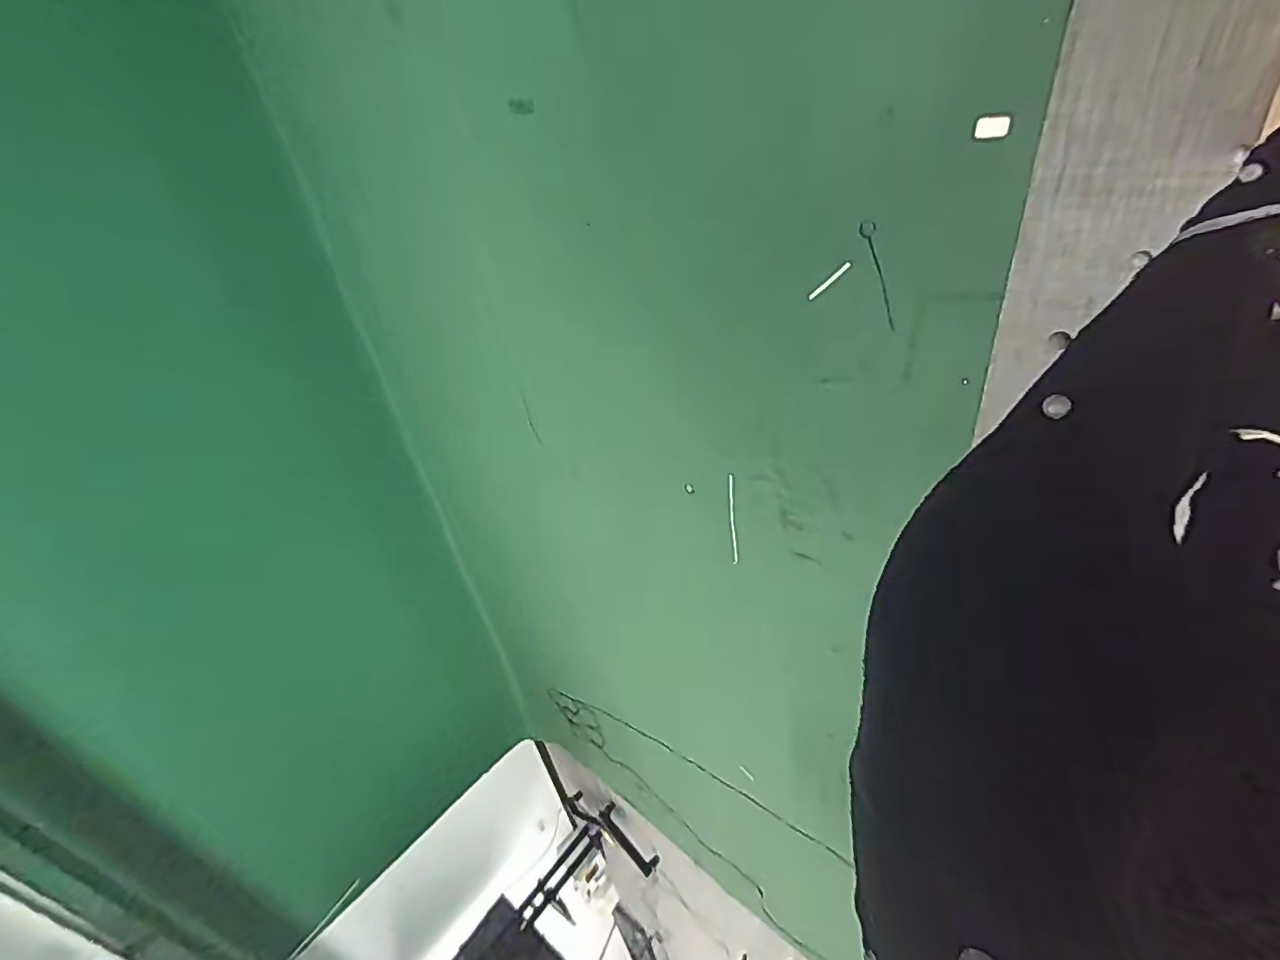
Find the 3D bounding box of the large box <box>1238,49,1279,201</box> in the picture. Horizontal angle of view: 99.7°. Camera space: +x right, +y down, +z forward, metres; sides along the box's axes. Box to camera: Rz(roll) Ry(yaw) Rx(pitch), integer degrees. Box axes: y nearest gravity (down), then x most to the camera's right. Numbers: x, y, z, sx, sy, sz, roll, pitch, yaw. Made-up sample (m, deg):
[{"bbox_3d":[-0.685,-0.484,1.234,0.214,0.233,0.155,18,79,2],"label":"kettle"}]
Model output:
[{"bbox_3d":[0.823,-0.501,0.475,0.320,0.320,0.408,18,131,39],"label":"large box"}]
